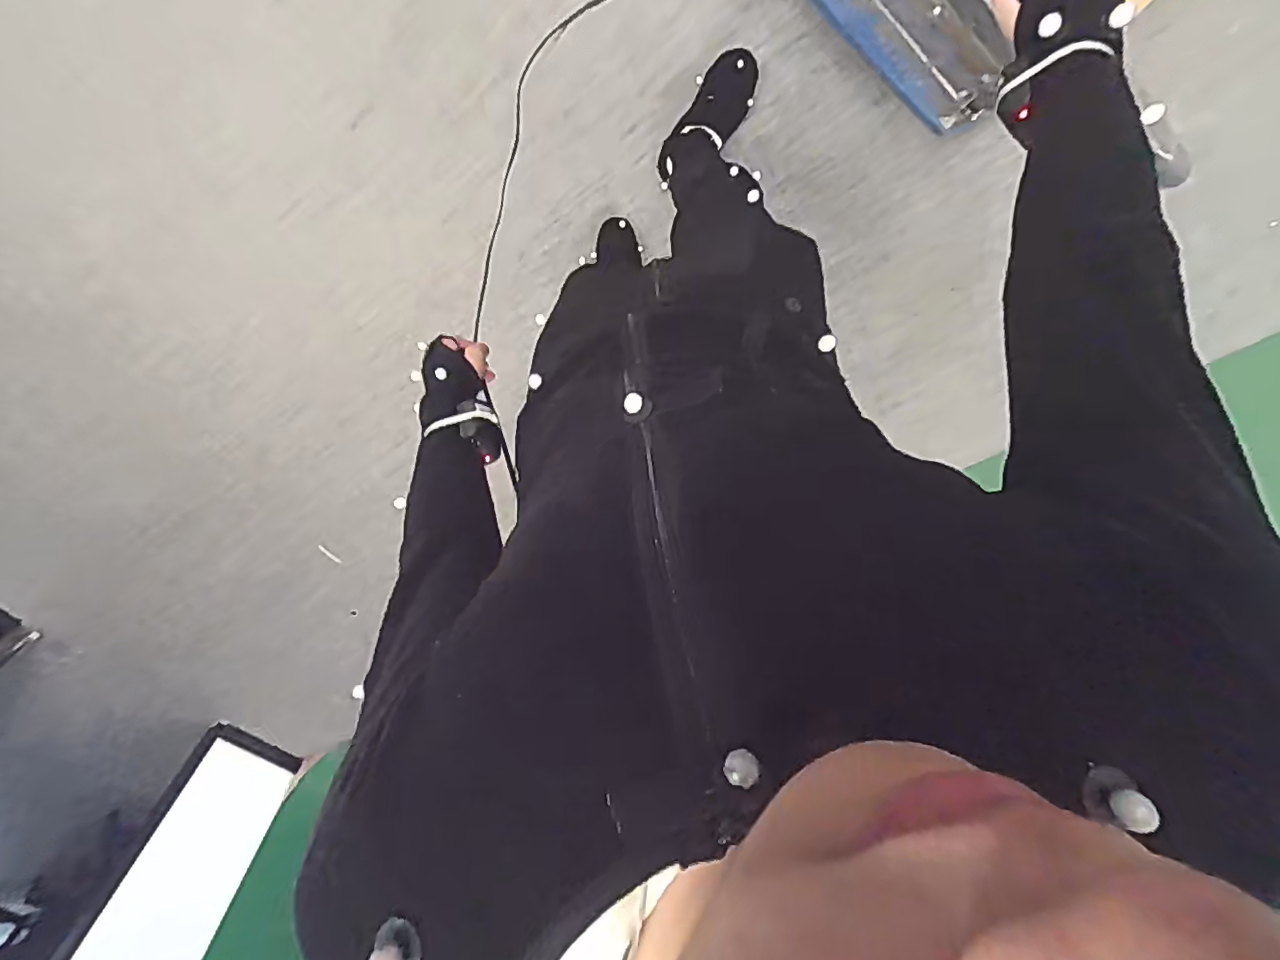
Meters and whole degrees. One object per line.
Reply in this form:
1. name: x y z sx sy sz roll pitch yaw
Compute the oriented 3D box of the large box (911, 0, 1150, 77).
1. large box: 0.646 -0.895 0.785 0.320 0.320 0.408 29 121 -19
